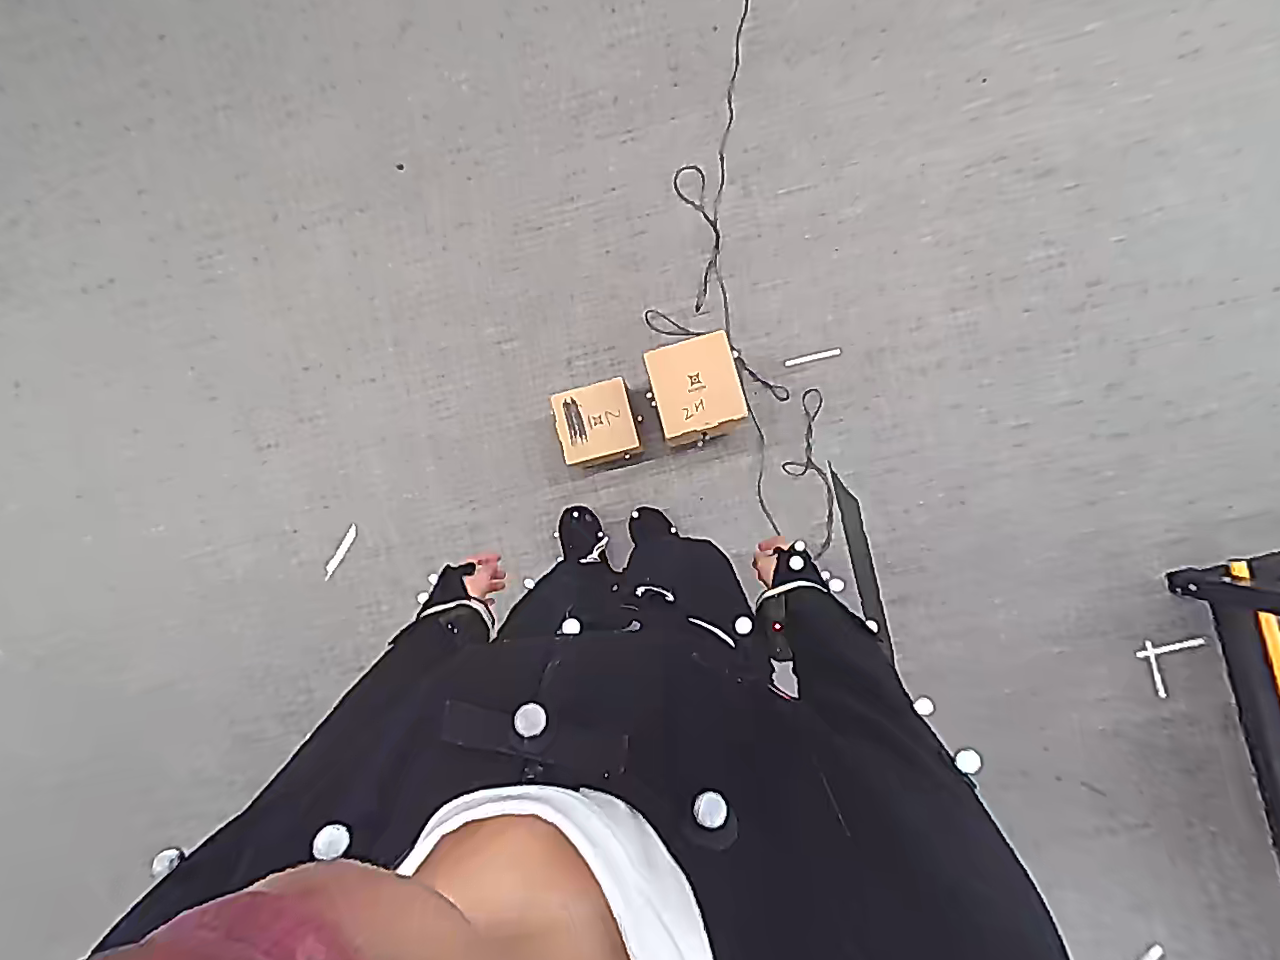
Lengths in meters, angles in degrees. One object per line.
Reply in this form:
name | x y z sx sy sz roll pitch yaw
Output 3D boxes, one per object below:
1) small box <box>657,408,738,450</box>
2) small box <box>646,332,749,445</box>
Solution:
small box | 0.125 -0.177 1.277 0.168 0.176 0.179 -14 89 4
small box | 0.114 -0.180 1.112 0.168 0.176 0.179 -15 89 5
